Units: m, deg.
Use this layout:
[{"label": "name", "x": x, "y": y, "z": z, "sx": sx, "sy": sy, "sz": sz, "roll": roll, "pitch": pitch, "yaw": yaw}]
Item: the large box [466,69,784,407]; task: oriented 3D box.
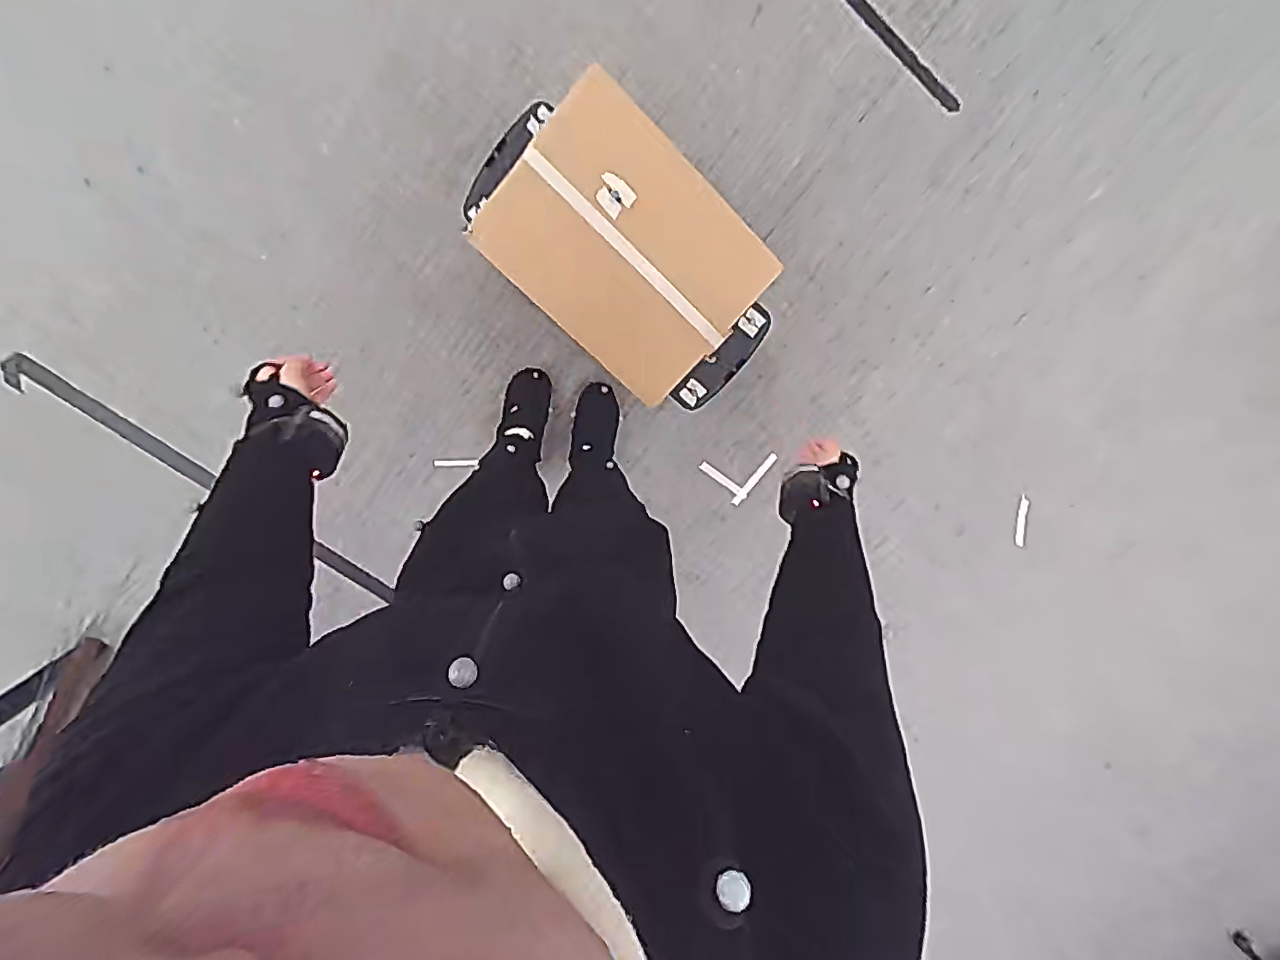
[{"label": "large box", "x": -0.021, "y": -0.394, "z": 0.975, "sx": 0.408, "sy": 0.320, "sz": 0.320, "roll": 41, "pitch": 101, "yaw": -12}]

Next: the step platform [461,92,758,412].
[{"label": "step platform", "x": -0.052, "y": -0.470, "z": 1.201, "sx": 0.286, "sy": 0.204, "sz": 0.684, "roll": -44, "pitch": 103, "yaw": 11}]
